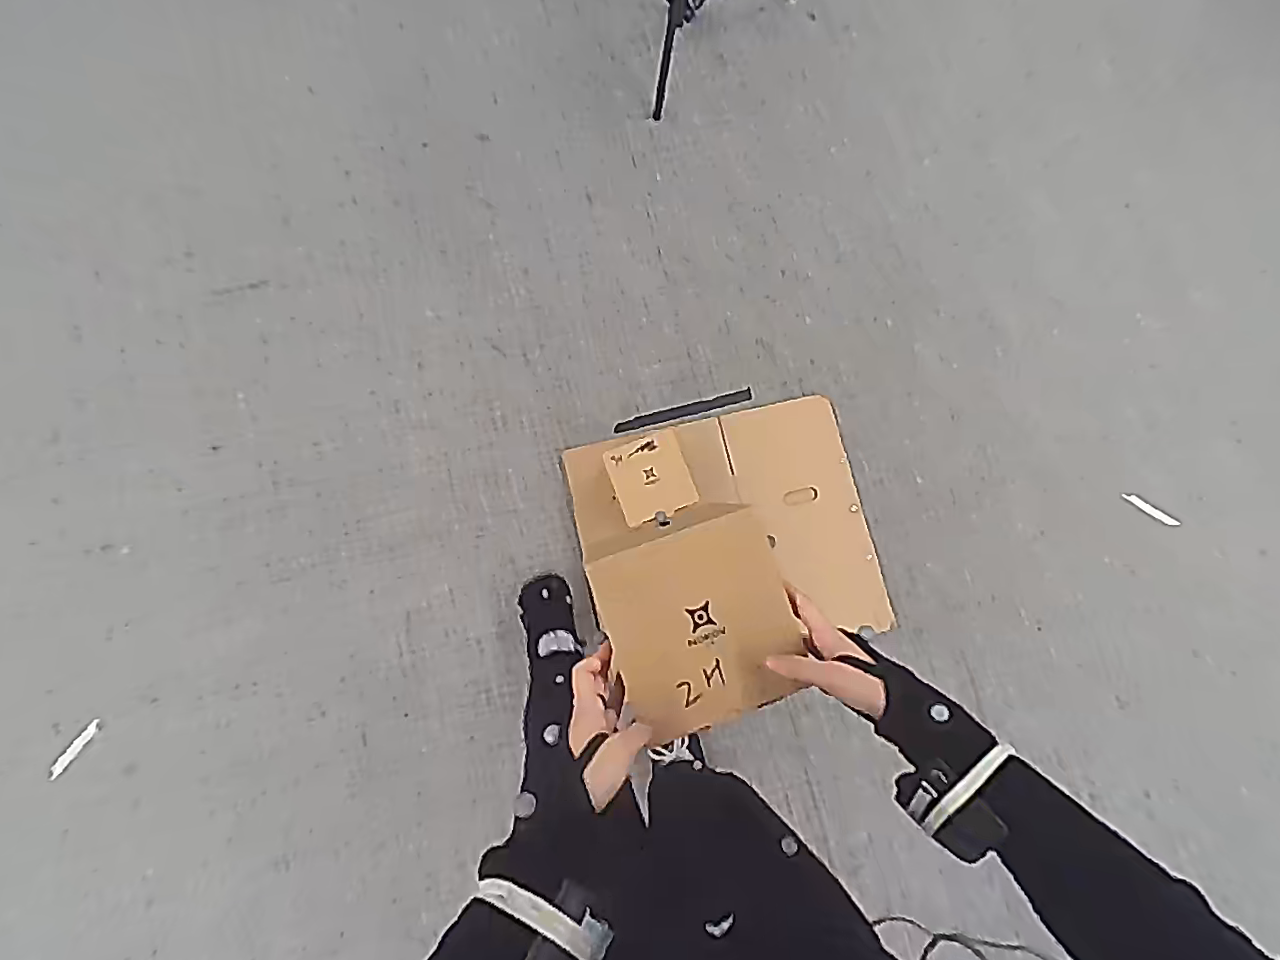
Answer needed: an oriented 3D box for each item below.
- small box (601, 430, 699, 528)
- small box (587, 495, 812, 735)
[{"bbox_3d":[0.018,0.008,1.229,0.168,0.176,0.179,-21,84,-7],"label":"small box"},{"bbox_3d":[0.047,0.124,0.564,0.168,0.176,0.179,-19,89,-5],"label":"small box"}]
